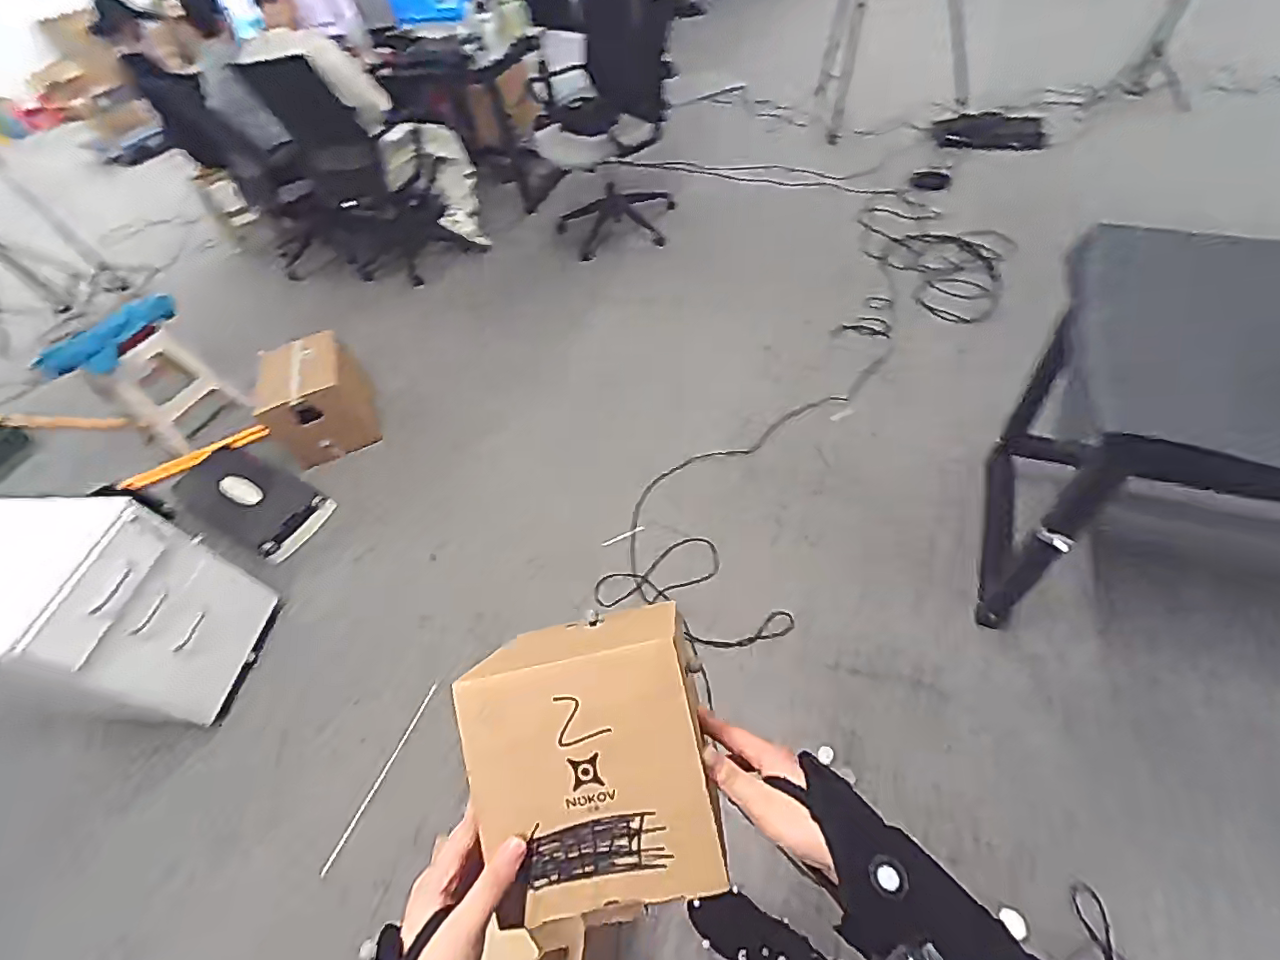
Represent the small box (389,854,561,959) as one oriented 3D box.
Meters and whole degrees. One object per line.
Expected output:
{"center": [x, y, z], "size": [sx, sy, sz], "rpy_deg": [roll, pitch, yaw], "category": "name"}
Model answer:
{"center": [-0.249, 0.734, 0.857], "size": [0.179, 0.176, 0.168], "rpy_deg": [36, 66, 30], "category": "small box"}
